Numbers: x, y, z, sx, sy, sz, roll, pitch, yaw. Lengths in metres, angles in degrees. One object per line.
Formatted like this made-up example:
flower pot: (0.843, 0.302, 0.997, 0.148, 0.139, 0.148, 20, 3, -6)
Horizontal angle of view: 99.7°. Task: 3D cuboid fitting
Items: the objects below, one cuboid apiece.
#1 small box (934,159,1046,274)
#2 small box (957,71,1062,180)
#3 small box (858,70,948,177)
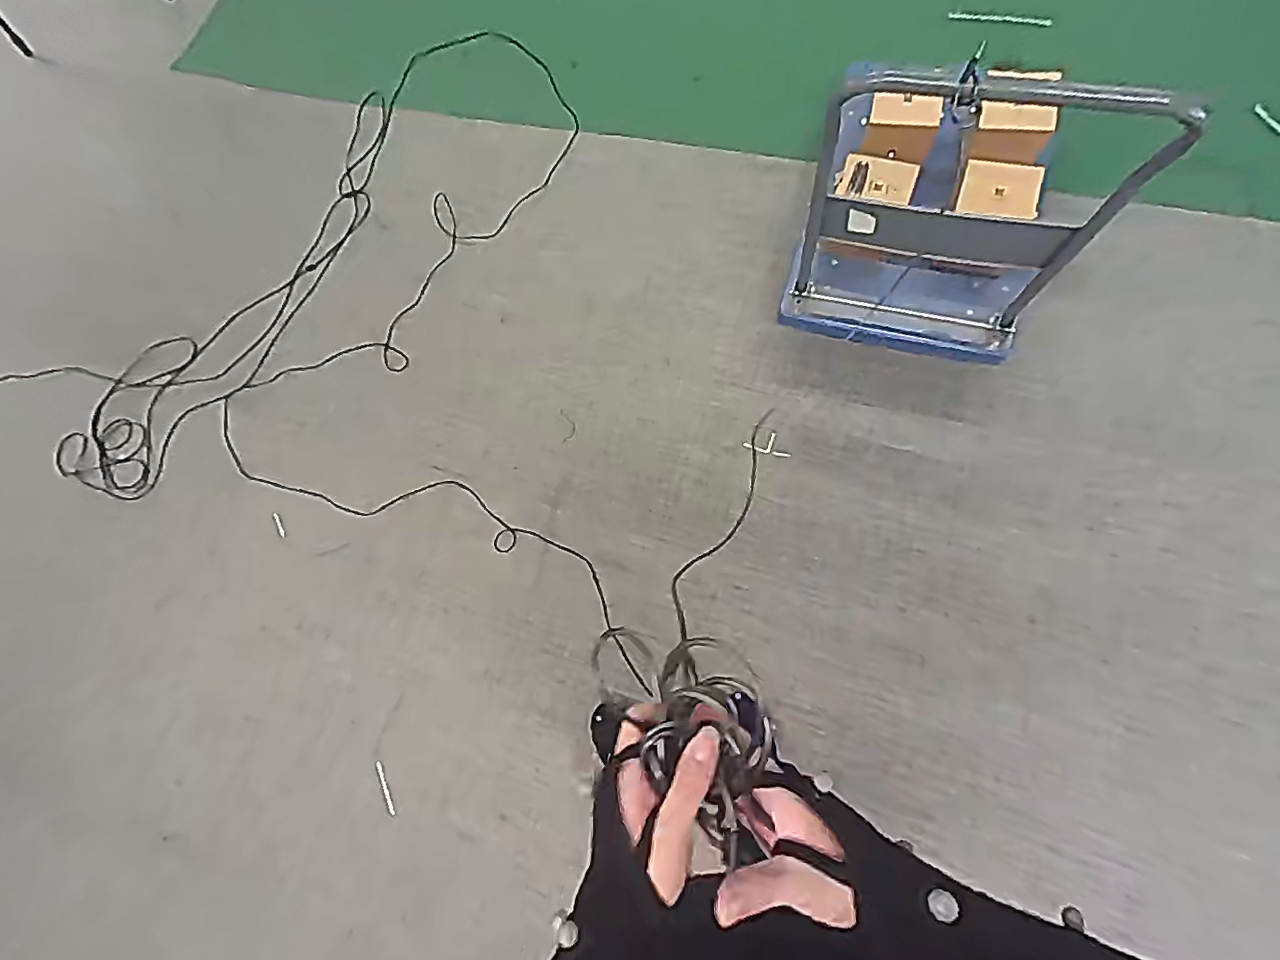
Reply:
small box: (0.846, -0.641, 1.323, 0.168, 0.176, 0.179, 16, 80, 15)
small box: (0.930, -0.892, 1.375, 0.168, 0.176, 0.179, 12, 78, 15)
small box: (0.690, -0.940, 1.435, 0.168, 0.176, 0.179, 12, 78, 13)
